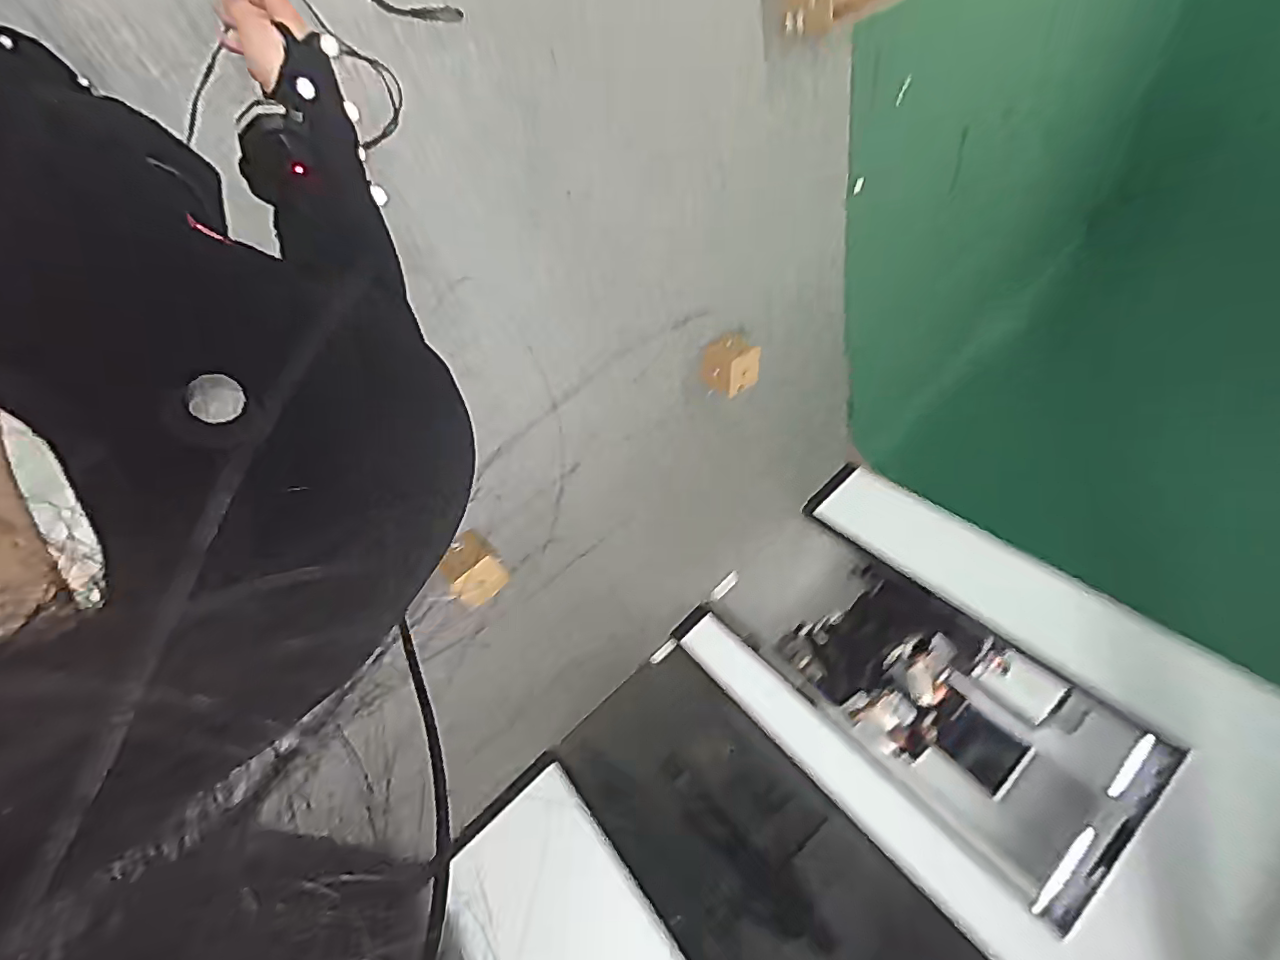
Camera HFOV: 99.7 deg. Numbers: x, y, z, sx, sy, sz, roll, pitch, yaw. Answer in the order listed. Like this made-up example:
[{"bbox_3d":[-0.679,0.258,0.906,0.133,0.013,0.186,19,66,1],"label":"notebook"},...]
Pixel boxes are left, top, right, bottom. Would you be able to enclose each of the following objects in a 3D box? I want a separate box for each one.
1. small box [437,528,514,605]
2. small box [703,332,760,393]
[{"bbox_3d":[-0.584,0.303,1.917,0.168,0.176,0.179,-41,139,-15],"label":"small box"},{"bbox_3d":[0.374,-0.493,2.228,0.168,0.176,0.179,-32,137,-23],"label":"small box"}]
